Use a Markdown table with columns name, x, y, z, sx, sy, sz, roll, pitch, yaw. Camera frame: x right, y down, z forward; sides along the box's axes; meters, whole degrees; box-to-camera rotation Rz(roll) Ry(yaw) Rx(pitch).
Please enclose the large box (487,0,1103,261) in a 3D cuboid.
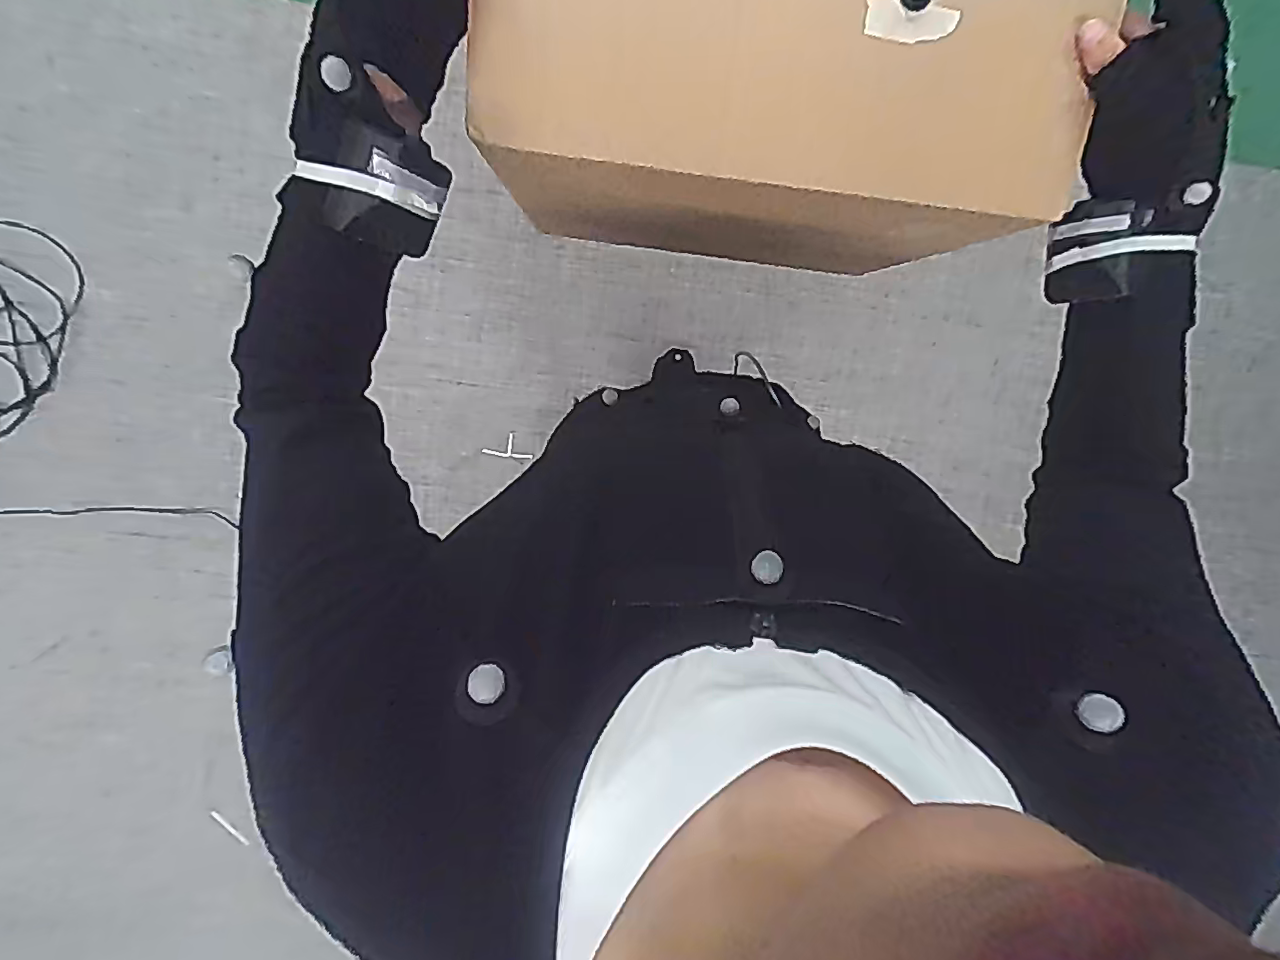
| name | x | y | z | sx | sy | sz | roll | pitch | yaw |
| --- | --- | --- | --- | --- | --- | --- | --- | --- | --- |
| large box | 0.099 | -0.394 | 0.479 | 0.408 | 0.320 | 0.320 | 5 | 105 | -3 |
